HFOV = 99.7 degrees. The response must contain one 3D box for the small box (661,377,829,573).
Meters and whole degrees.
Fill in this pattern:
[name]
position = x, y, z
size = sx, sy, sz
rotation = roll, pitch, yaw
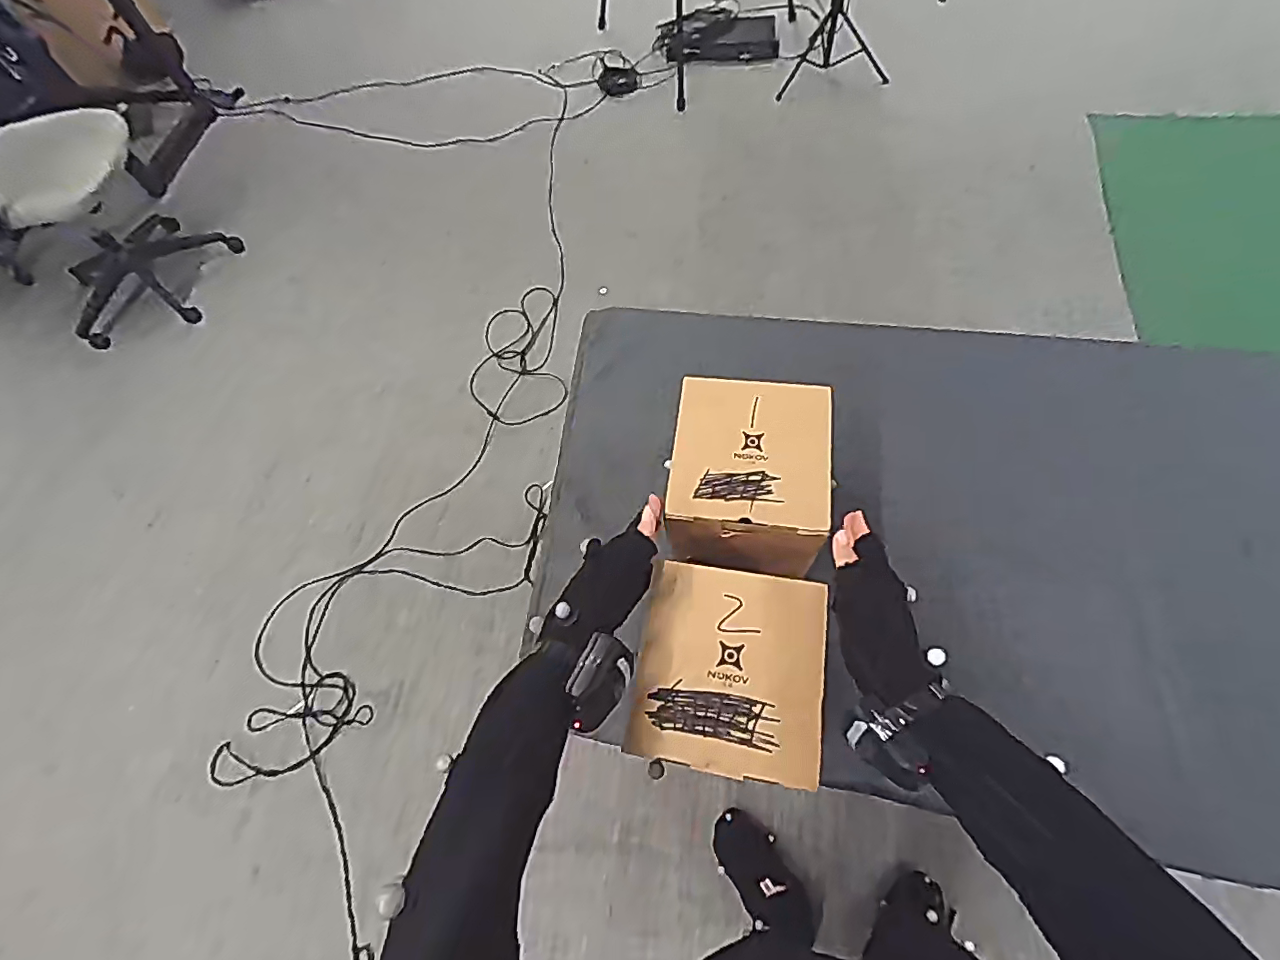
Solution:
[small box]
position = 0.123, 0.001, 0.644
size = 0.168, 0.176, 0.179
rotation = 6, 65, 9
